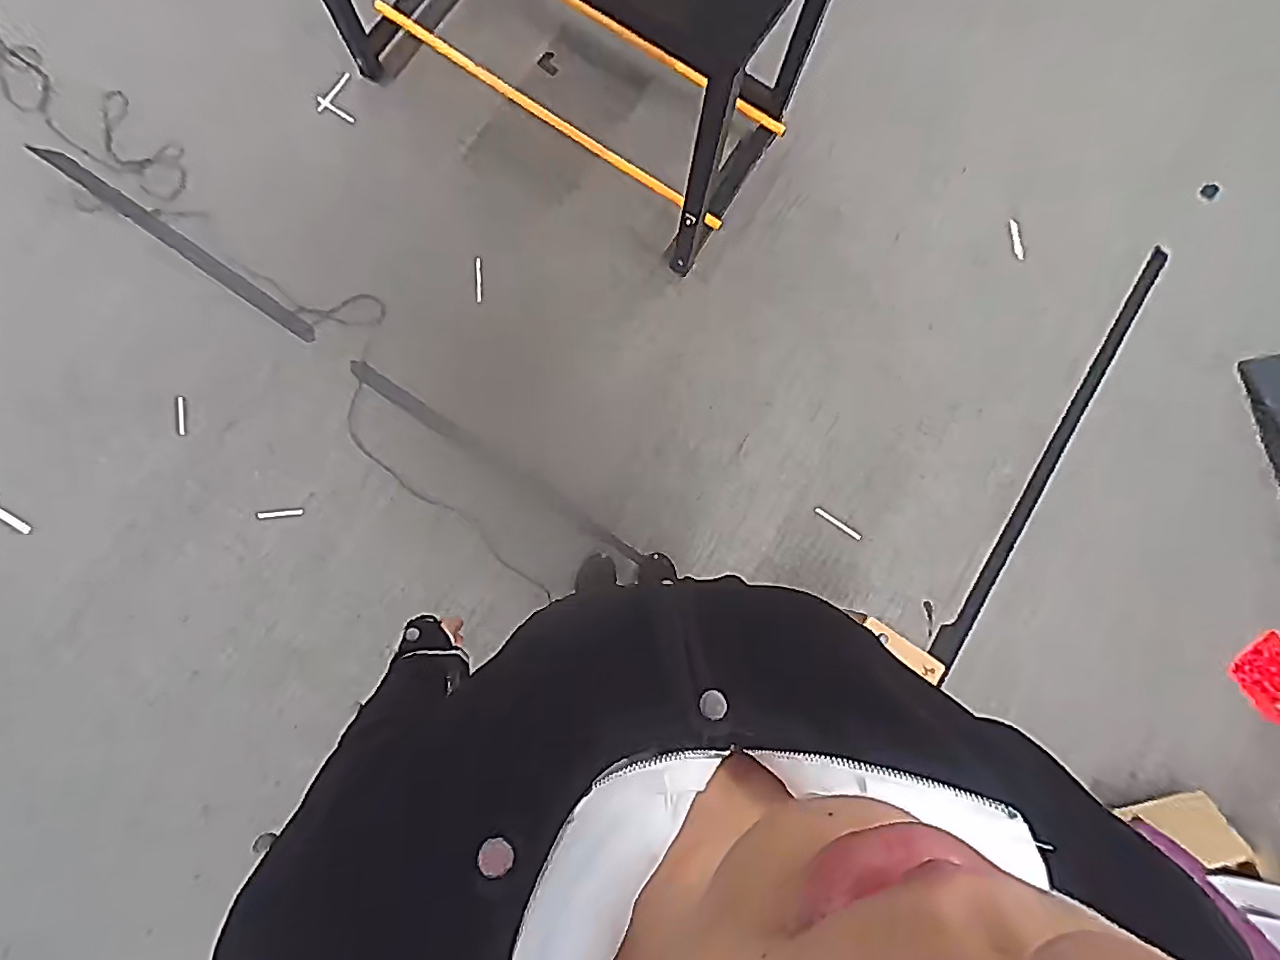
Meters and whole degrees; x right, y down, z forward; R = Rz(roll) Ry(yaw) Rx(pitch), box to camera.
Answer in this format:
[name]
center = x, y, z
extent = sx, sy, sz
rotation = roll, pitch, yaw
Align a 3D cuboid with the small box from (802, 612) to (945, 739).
[small box]
center = 0.461, 0.382, 1.098
extent = 0.179, 0.176, 0.168
rotation = 34, 81, 3
